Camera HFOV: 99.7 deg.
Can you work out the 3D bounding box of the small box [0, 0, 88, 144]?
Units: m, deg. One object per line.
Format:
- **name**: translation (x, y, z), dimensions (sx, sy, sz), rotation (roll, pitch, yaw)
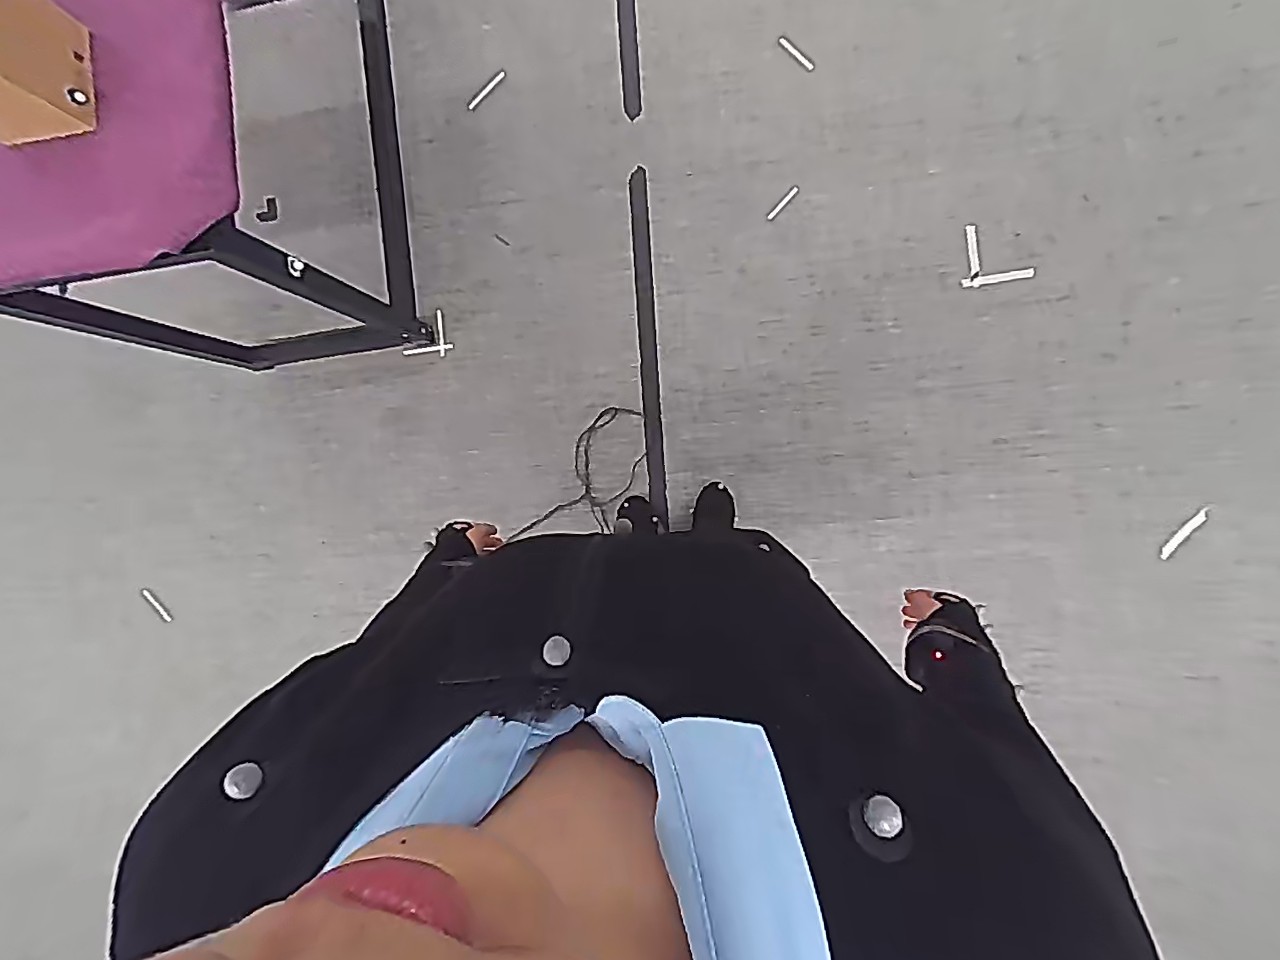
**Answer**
- **small box**: translation (-0.973, -0.633, 0.796), dimensions (0.179, 0.176, 0.168), rotation (-5, 90, 7)
